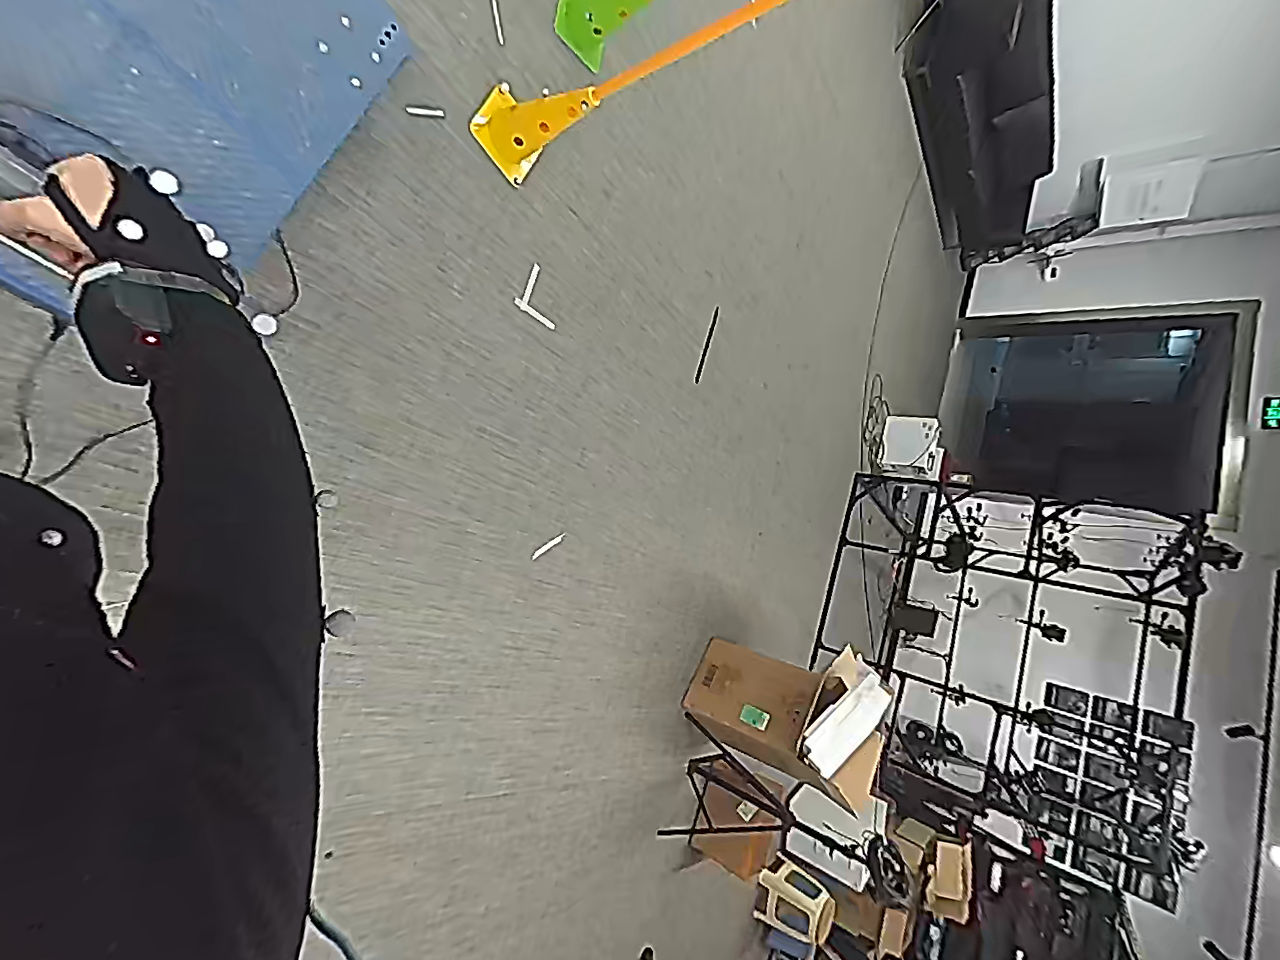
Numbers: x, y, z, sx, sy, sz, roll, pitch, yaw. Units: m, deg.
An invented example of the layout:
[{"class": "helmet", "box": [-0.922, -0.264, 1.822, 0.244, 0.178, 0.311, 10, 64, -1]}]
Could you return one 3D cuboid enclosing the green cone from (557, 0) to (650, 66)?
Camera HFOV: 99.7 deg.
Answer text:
[{"class": "green cone", "box": [-0.046, -1.449, 1.612, 0.200, 0.368, 0.202, 9, 91, -51]}]
